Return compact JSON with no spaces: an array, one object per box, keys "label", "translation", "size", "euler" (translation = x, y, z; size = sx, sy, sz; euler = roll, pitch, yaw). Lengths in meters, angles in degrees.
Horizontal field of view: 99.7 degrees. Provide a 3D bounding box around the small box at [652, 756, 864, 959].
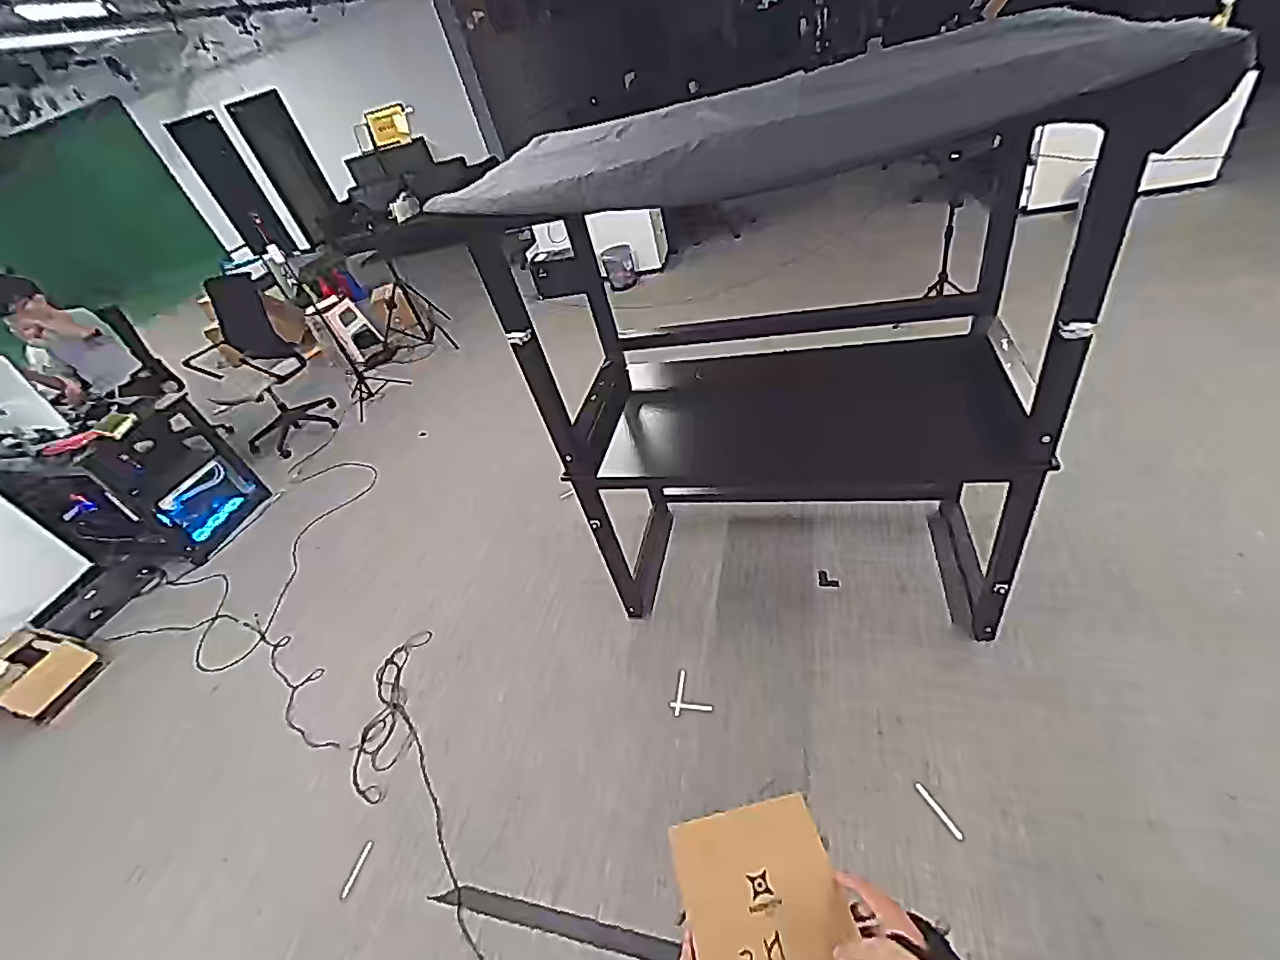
[{"label":"small box","translation":[0.113,0.443,0.589],"size":[0.168,0.176,0.179],"euler":[-12,37,-5]}]
